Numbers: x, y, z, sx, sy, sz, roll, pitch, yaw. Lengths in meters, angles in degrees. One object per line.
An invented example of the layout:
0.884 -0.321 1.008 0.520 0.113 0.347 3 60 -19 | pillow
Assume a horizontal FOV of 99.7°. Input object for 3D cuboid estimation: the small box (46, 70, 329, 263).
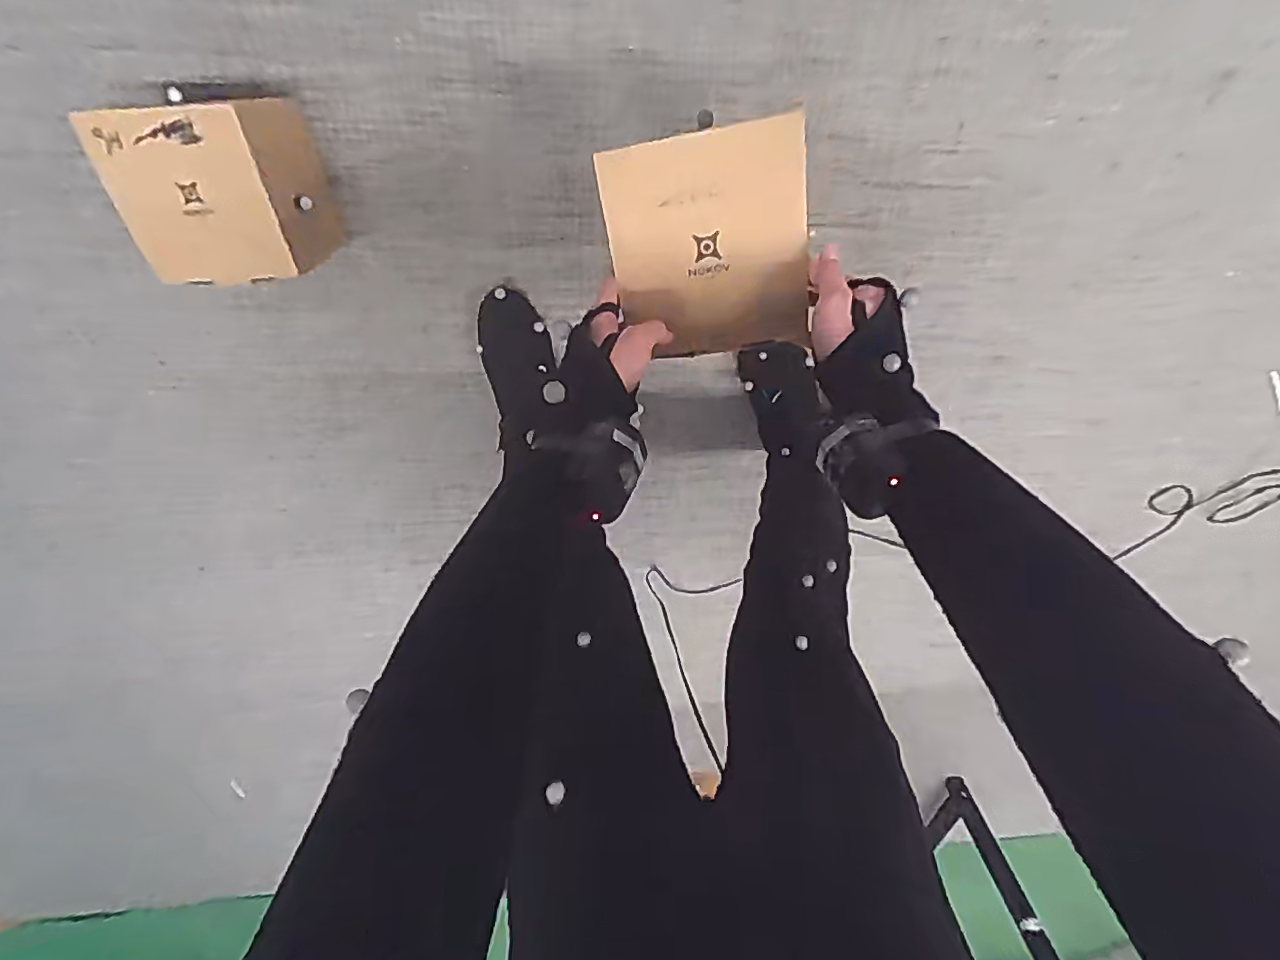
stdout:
-0.510 -0.379 0.651 0.168 0.176 0.179 -3 129 -3 | small box
